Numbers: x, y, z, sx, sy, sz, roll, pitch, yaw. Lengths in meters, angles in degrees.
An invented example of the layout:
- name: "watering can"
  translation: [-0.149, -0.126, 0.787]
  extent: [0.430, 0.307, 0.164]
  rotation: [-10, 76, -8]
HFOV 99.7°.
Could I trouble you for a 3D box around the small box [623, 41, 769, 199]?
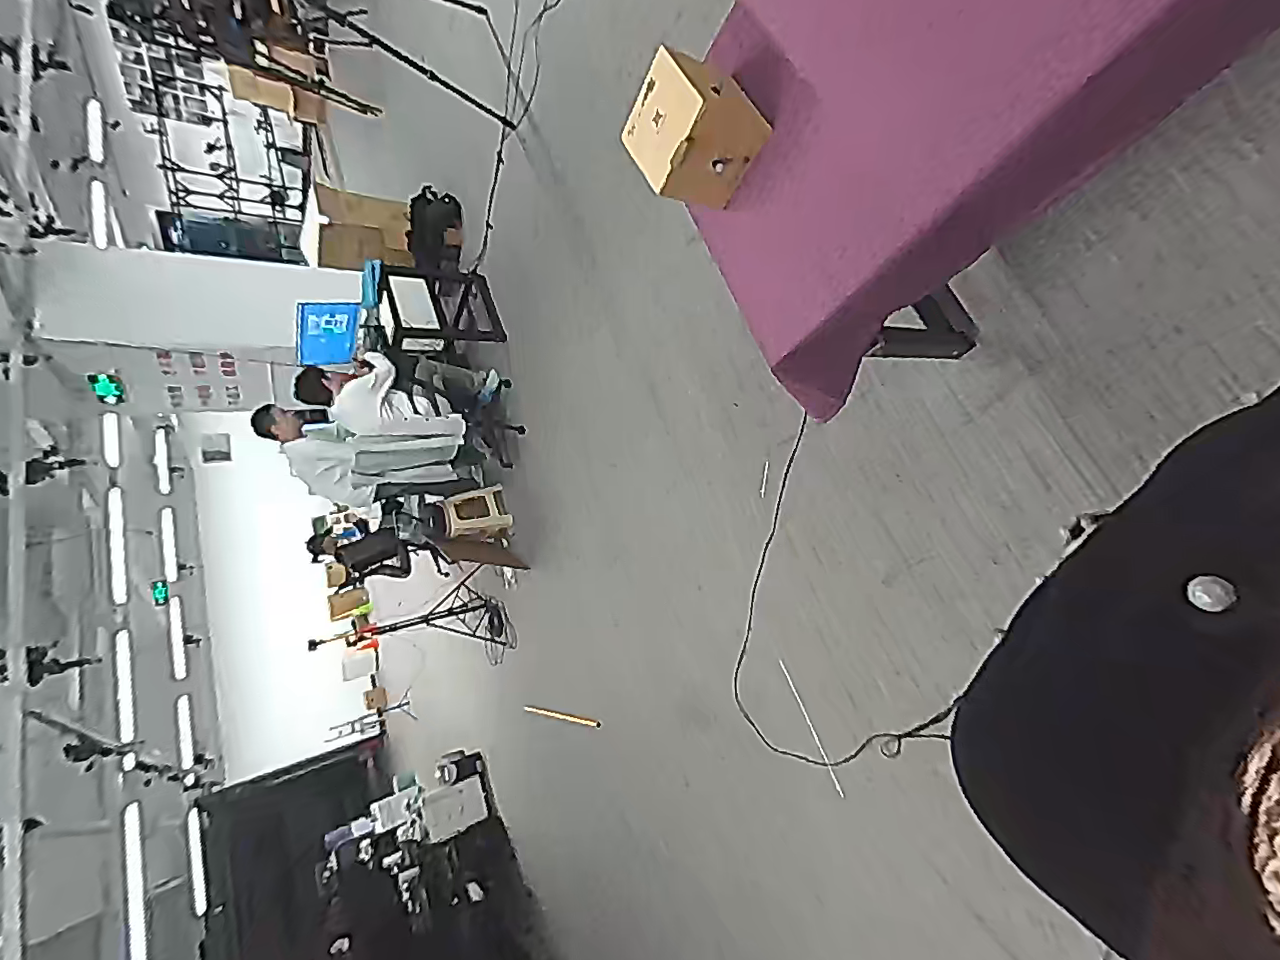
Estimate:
- name: "small box"
  translation: [0.103, -0.645, 0.991]
  extent: [0.168, 0.176, 0.179]
  rotation: [-49, 59, 46]
